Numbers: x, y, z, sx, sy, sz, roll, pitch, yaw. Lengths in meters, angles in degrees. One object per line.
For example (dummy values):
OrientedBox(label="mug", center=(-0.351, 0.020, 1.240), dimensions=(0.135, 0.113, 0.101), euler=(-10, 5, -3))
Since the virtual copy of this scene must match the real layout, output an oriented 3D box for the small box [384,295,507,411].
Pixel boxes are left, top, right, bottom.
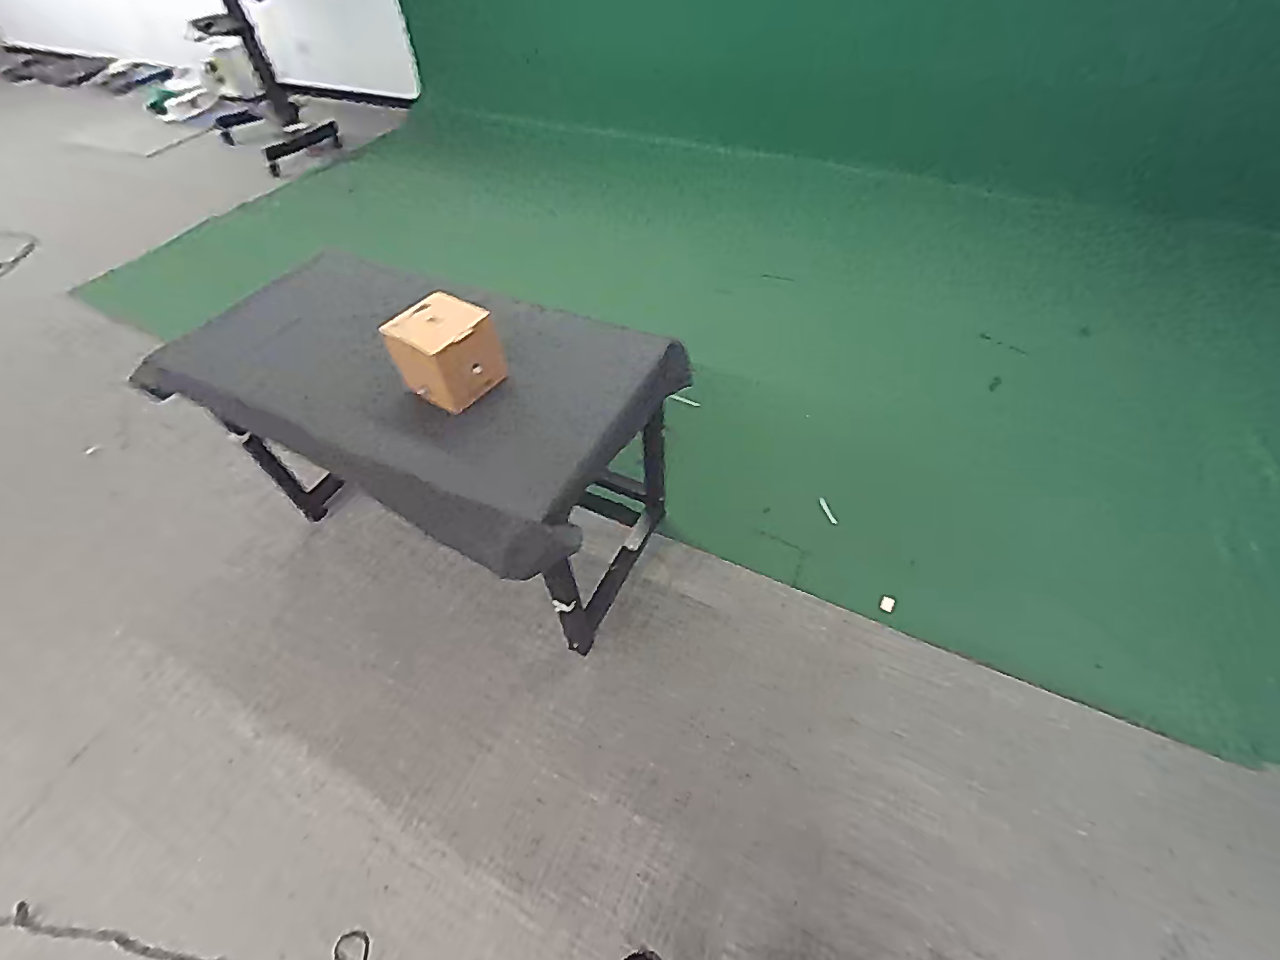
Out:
OrientedBox(label="small box", center=(-0.426, -0.280, 1.219), dimensions=(0.179, 0.176, 0.168), euler=(28, 58, 23))
